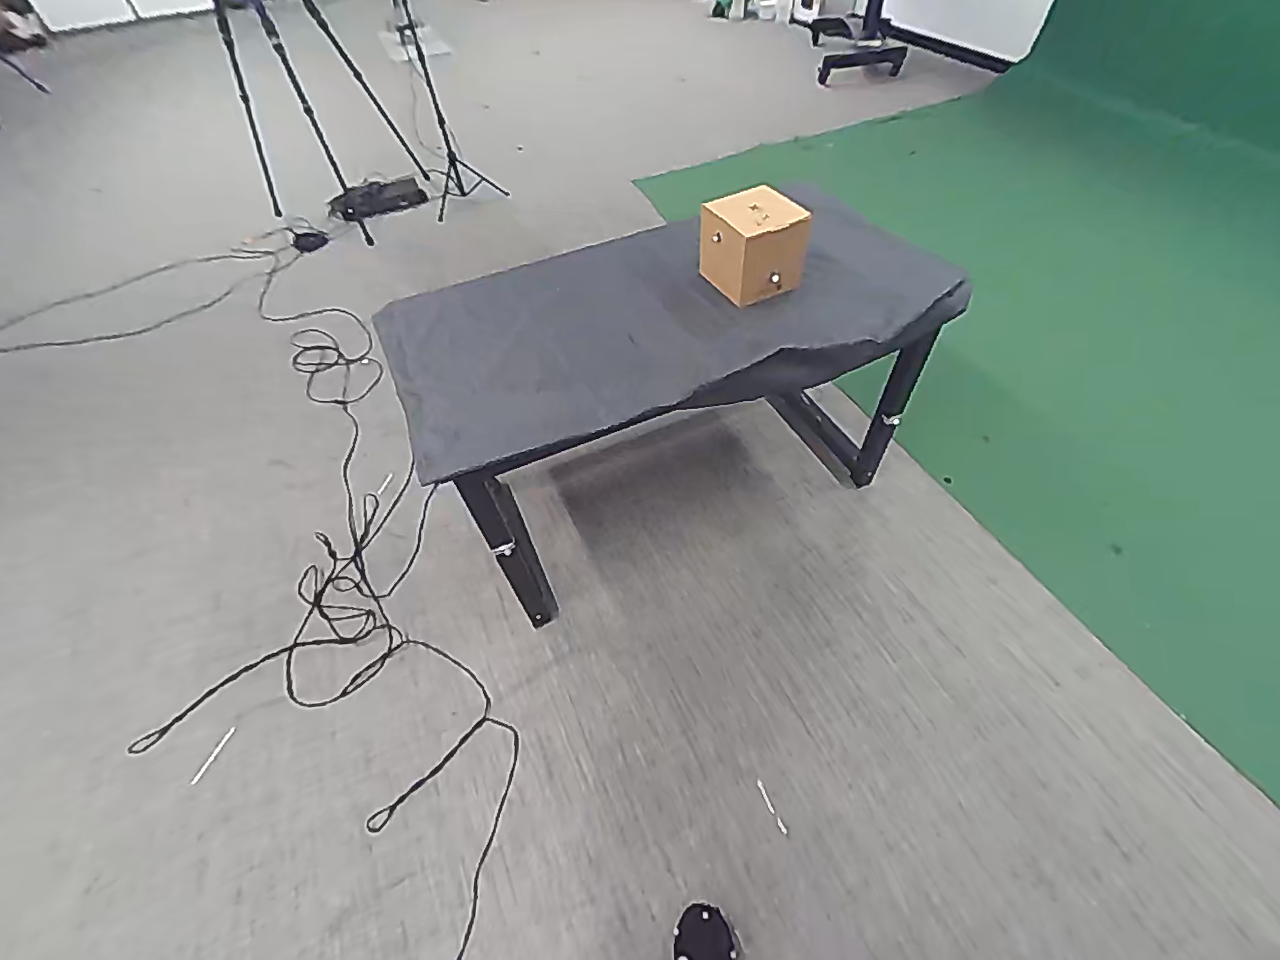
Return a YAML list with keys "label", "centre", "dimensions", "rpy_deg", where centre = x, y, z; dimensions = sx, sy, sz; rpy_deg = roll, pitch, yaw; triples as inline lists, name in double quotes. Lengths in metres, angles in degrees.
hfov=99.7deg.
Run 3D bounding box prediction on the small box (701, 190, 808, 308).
- label: "small box"
  centre: [0.246, -0.517, 1.217]
  dimensions: [0.168, 0.176, 0.179]
  rpy_deg: [-24, 54, -14]
